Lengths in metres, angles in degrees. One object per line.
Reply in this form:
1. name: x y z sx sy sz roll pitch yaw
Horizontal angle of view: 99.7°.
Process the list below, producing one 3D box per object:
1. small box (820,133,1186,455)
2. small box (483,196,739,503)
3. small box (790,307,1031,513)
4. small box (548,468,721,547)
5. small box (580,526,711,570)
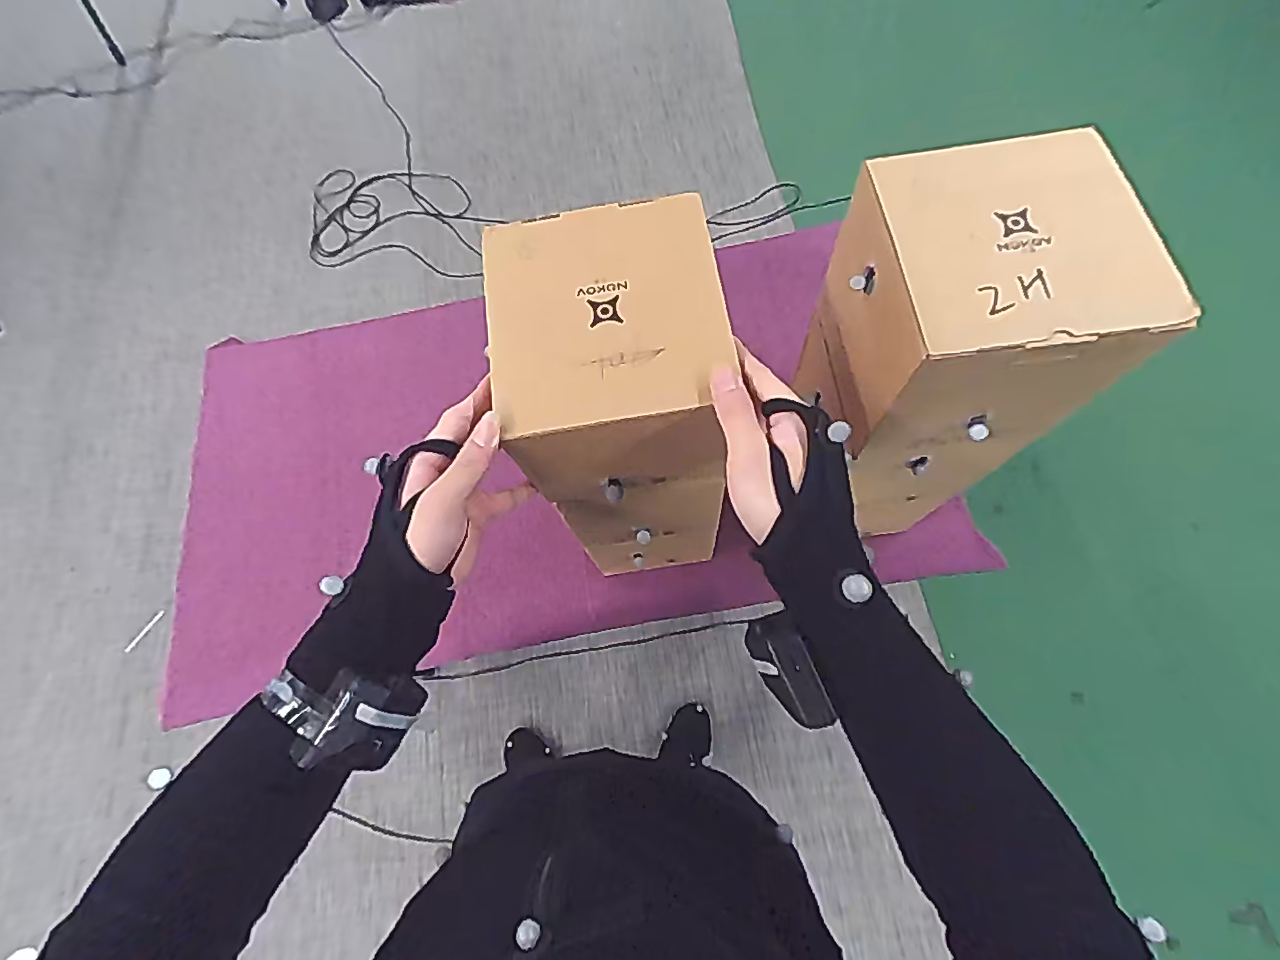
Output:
1. small box: 0.258 -0.137 0.443 0.168 0.176 0.179 -6 70 4
2. small box: -0.022 -0.094 0.450 0.168 0.176 0.179 -9 72 1
3. small box: 0.272 -0.078 0.596 0.168 0.176 0.179 -7 68 4
4. small box: -0.008 -0.037 0.609 0.168 0.176 0.179 -8 69 2
5. small box: 0.006 0.024 0.761 0.168 0.176 0.179 -9 68 2
